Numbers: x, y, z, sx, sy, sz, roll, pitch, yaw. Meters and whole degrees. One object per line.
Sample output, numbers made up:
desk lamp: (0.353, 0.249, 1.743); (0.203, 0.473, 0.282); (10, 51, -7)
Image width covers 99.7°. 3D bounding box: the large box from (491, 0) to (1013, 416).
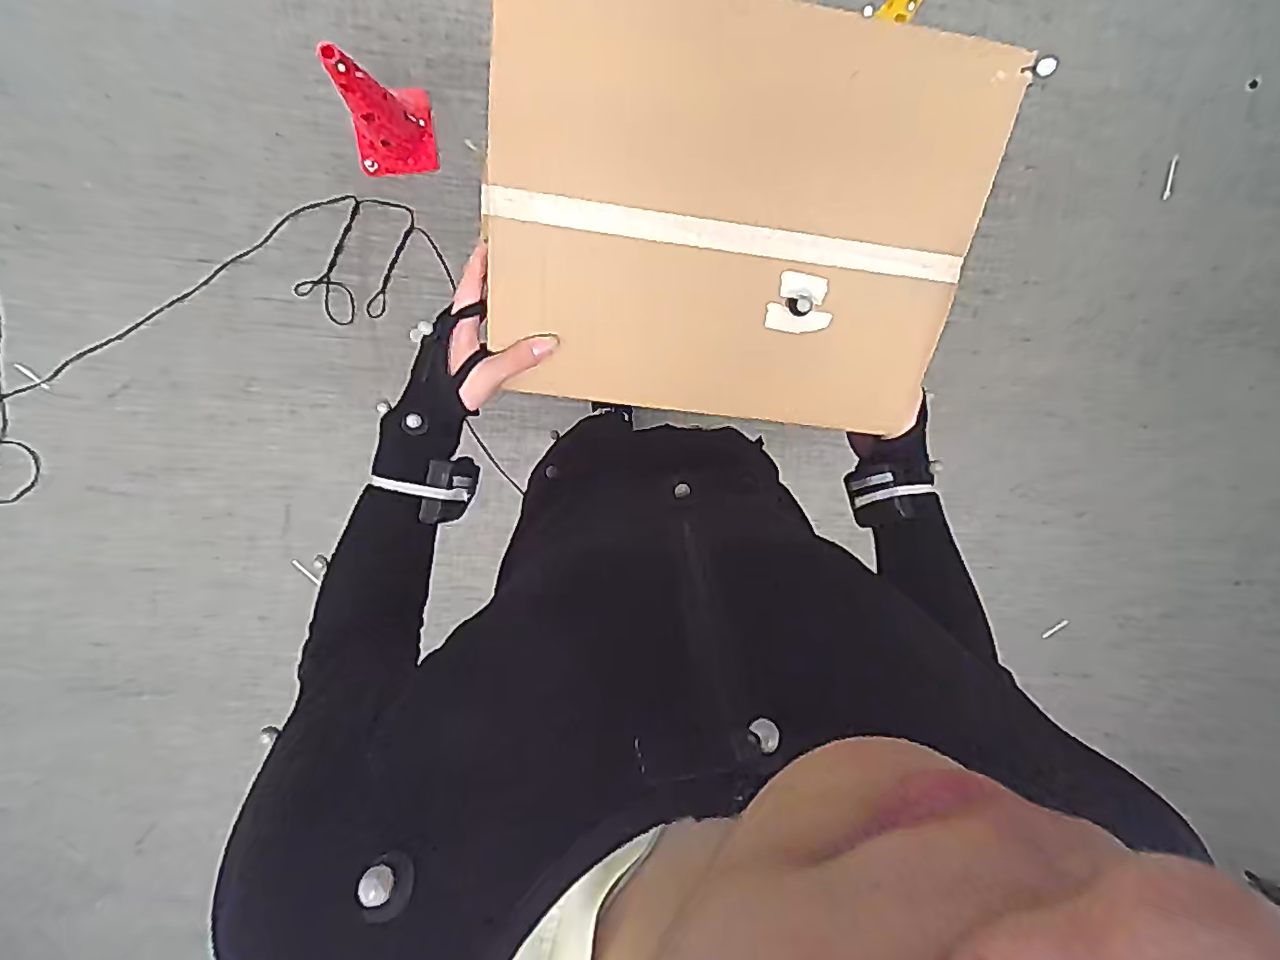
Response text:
large box: (0.065, -0.279, 0.592); (0.408, 0.320, 0.320); (5, 115, -7)
